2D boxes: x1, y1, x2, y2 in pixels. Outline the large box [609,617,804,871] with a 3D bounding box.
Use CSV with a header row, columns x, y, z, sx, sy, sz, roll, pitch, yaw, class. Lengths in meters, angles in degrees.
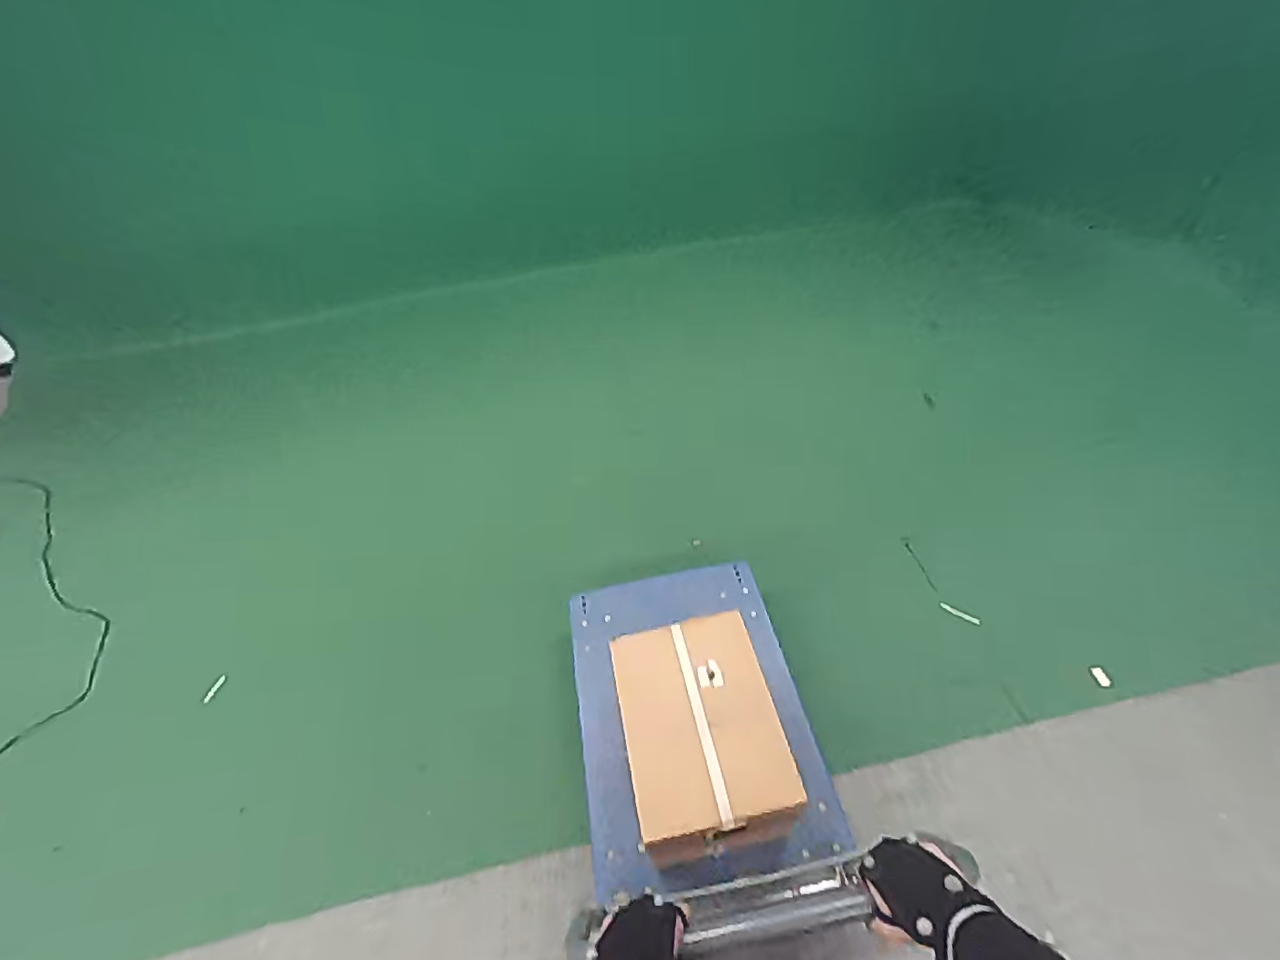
x,y,z,sx,sy,sz,roll,pitch,yaw,class
0.135,0.593,1.227,0.320,0.320,0.408,-12,47,-4,large box
